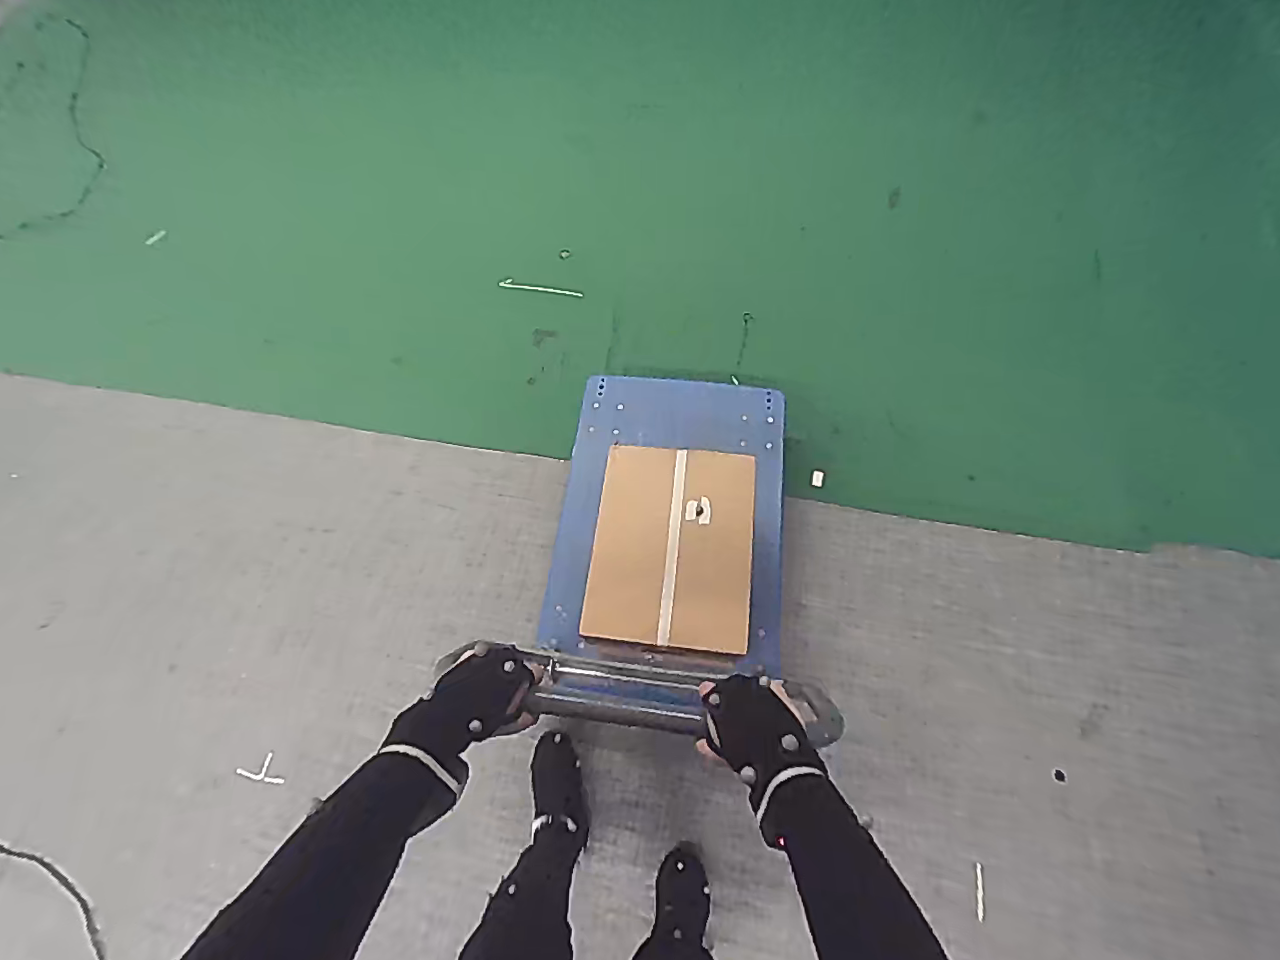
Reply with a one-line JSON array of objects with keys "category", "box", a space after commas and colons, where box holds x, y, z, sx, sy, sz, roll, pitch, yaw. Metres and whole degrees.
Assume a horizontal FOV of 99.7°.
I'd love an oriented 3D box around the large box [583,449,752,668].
[{"category": "large box", "box": [0.073, 0.186, 1.209, 0.320, 0.320, 0.408, 5, 66, 5]}]
